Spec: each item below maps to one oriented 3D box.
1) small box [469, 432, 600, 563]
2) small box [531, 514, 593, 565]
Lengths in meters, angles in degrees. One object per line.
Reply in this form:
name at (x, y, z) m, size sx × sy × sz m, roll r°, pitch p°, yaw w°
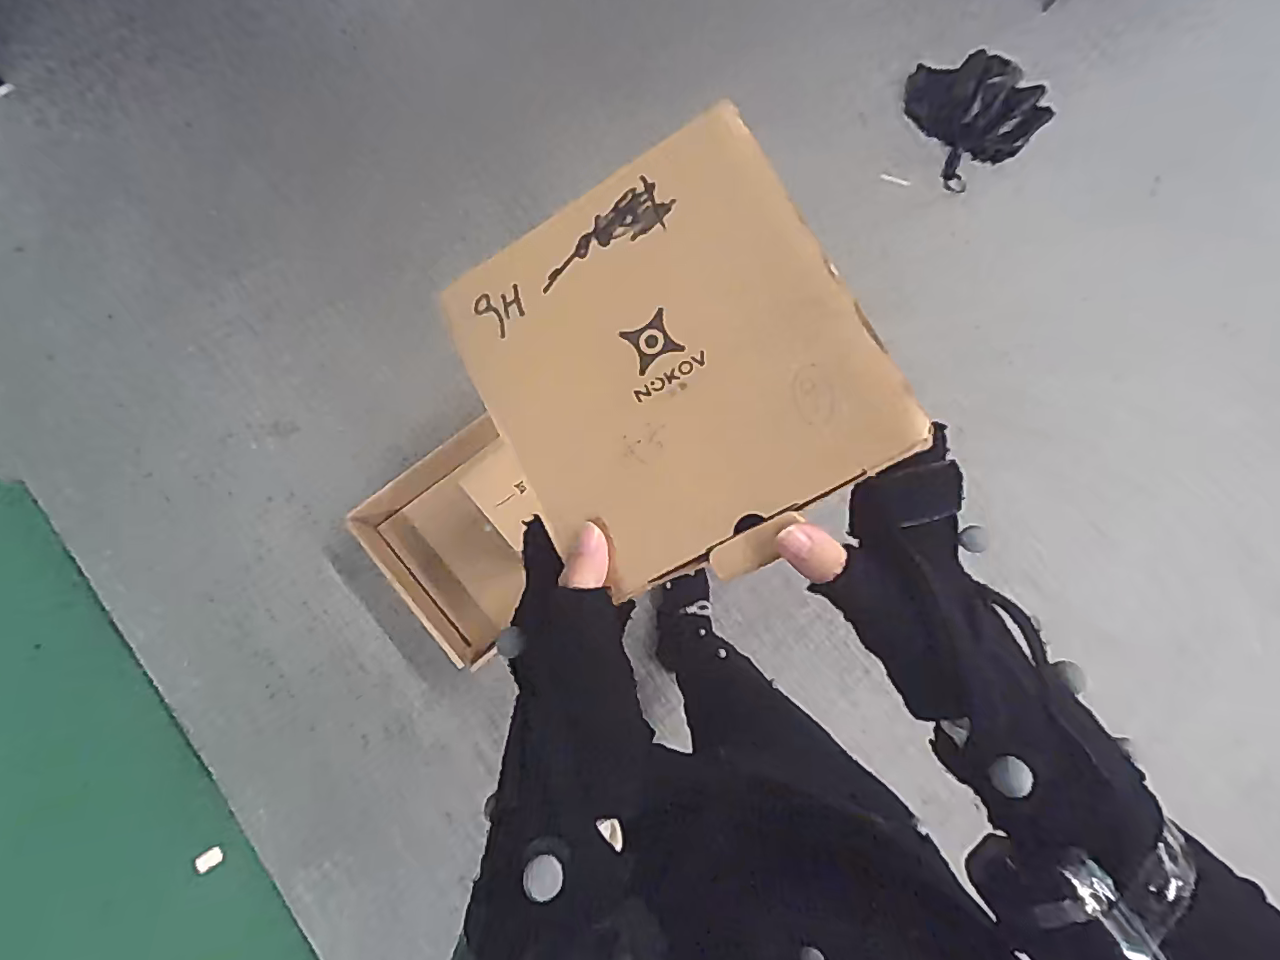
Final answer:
small box at (-0.198, 0.041, 1.038) m, size 0.179 × 0.176 × 0.168 m, roll -39°, pitch 83°, yaw -13°
small box at (-0.218, 0.072, 1.182) m, size 0.168 × 0.176 × 0.179 m, roll -40°, pitch 83°, yaw -14°
